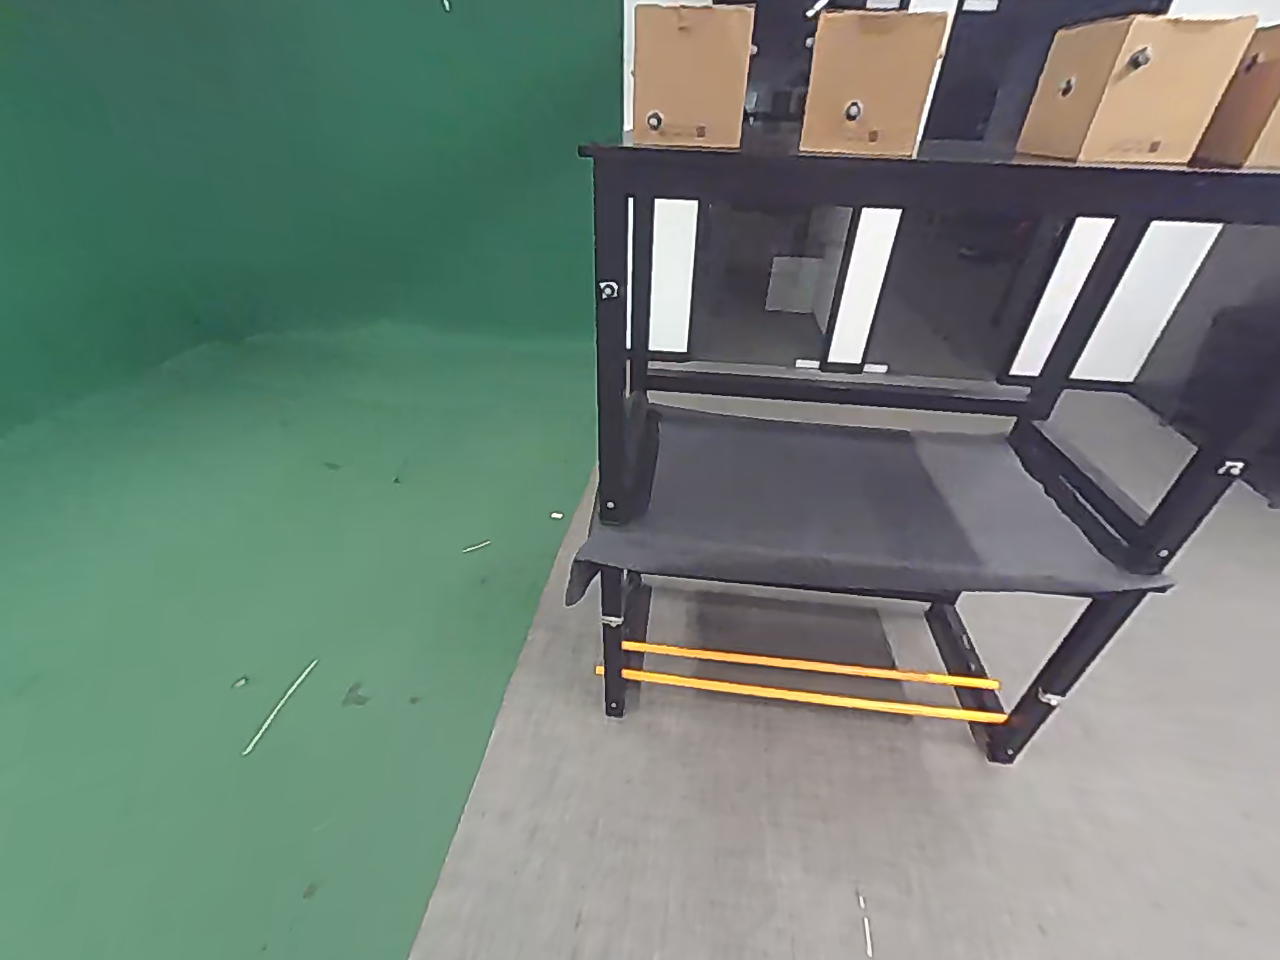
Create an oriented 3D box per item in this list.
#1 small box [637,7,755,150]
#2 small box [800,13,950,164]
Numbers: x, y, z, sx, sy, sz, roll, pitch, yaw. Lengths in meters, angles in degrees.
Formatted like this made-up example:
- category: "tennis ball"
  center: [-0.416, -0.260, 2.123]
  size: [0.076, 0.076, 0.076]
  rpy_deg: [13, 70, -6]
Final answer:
- category: "small box"
  center: [0.085, -0.623, 0.854]
  size: [0.168, 0.176, 0.179]
  rpy_deg: [5, 34, 4]
- category: "small box"
  center: [0.348, -0.598, 0.836]
  size: [0.168, 0.176, 0.179]
  rpy_deg: [10, 36, 11]
